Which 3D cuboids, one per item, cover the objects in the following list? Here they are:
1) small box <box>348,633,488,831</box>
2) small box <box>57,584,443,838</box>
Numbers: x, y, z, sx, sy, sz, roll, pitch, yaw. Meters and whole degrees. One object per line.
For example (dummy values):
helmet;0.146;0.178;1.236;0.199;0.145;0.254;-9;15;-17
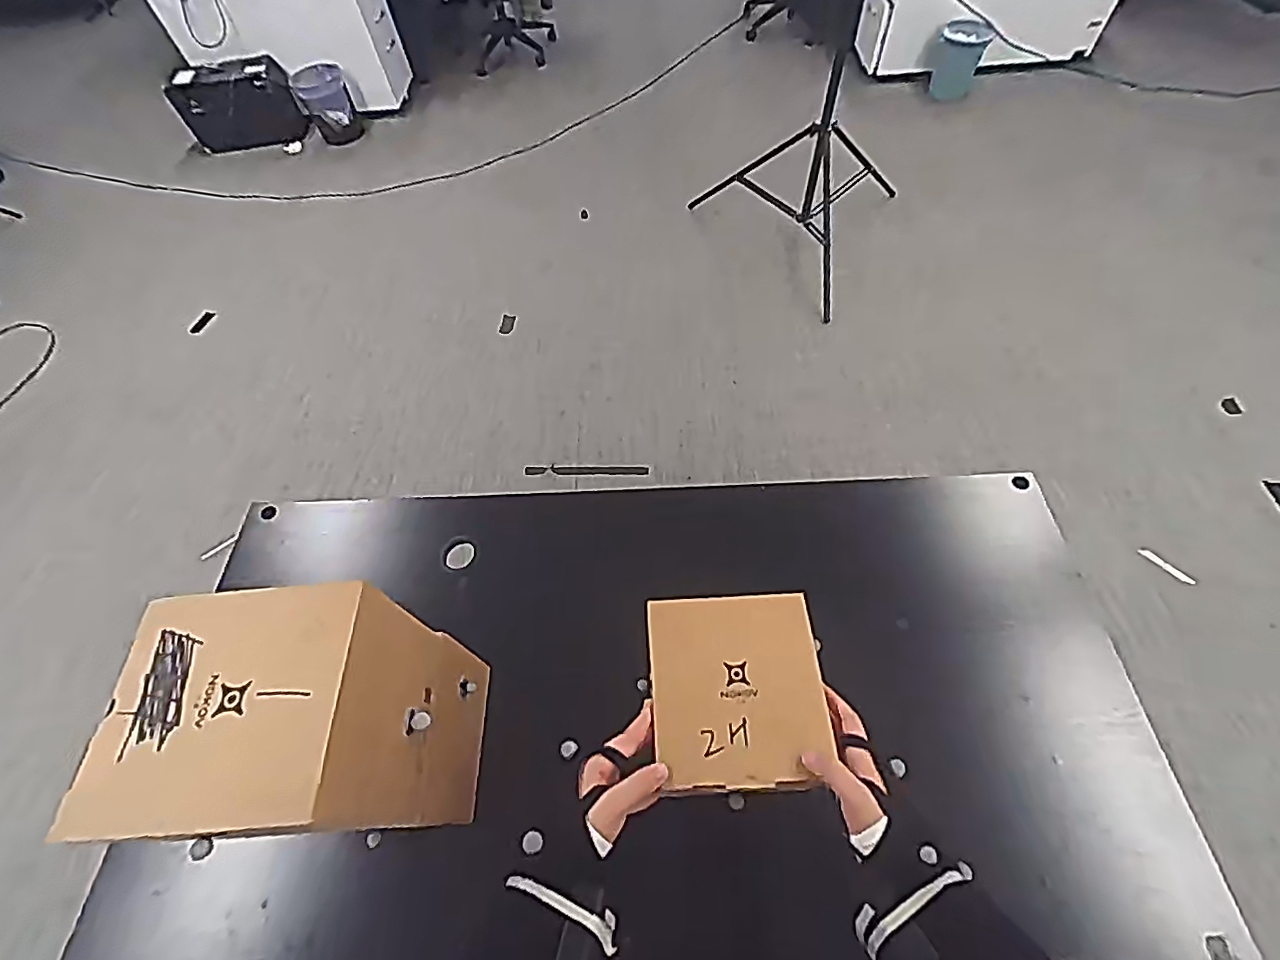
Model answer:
small box;-0.278;0.283;0.600;0.168;0.176;0.179;-5;59;3
small box;-0.292;0.201;0.458;0.179;0.176;0.168;-5;58;1
